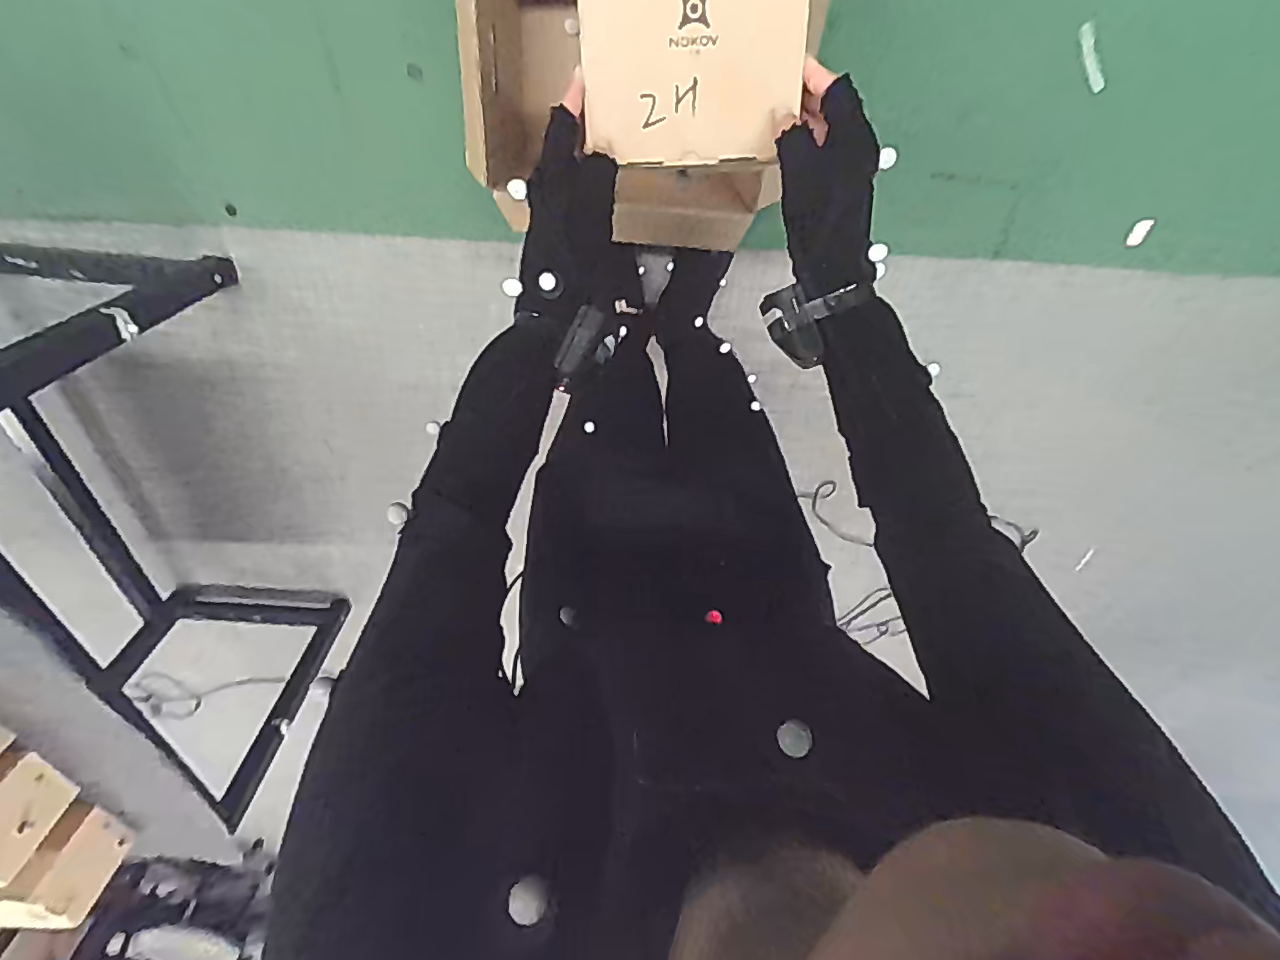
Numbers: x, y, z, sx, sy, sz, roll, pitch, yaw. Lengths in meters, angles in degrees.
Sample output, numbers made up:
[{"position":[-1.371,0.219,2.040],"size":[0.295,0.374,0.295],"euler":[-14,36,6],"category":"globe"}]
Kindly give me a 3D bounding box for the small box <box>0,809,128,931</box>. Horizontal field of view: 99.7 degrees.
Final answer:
[{"position":[-1.206,0.785,1.095],"size":[0.179,0.176,0.168],"euler":[1,126,1],"category":"small box"}]

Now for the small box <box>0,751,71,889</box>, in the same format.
[{"position":[-1.184,0.595,0.956],"size":[0.179,0.176,0.168],"euler":[4,127,-2],"category":"small box"}]
